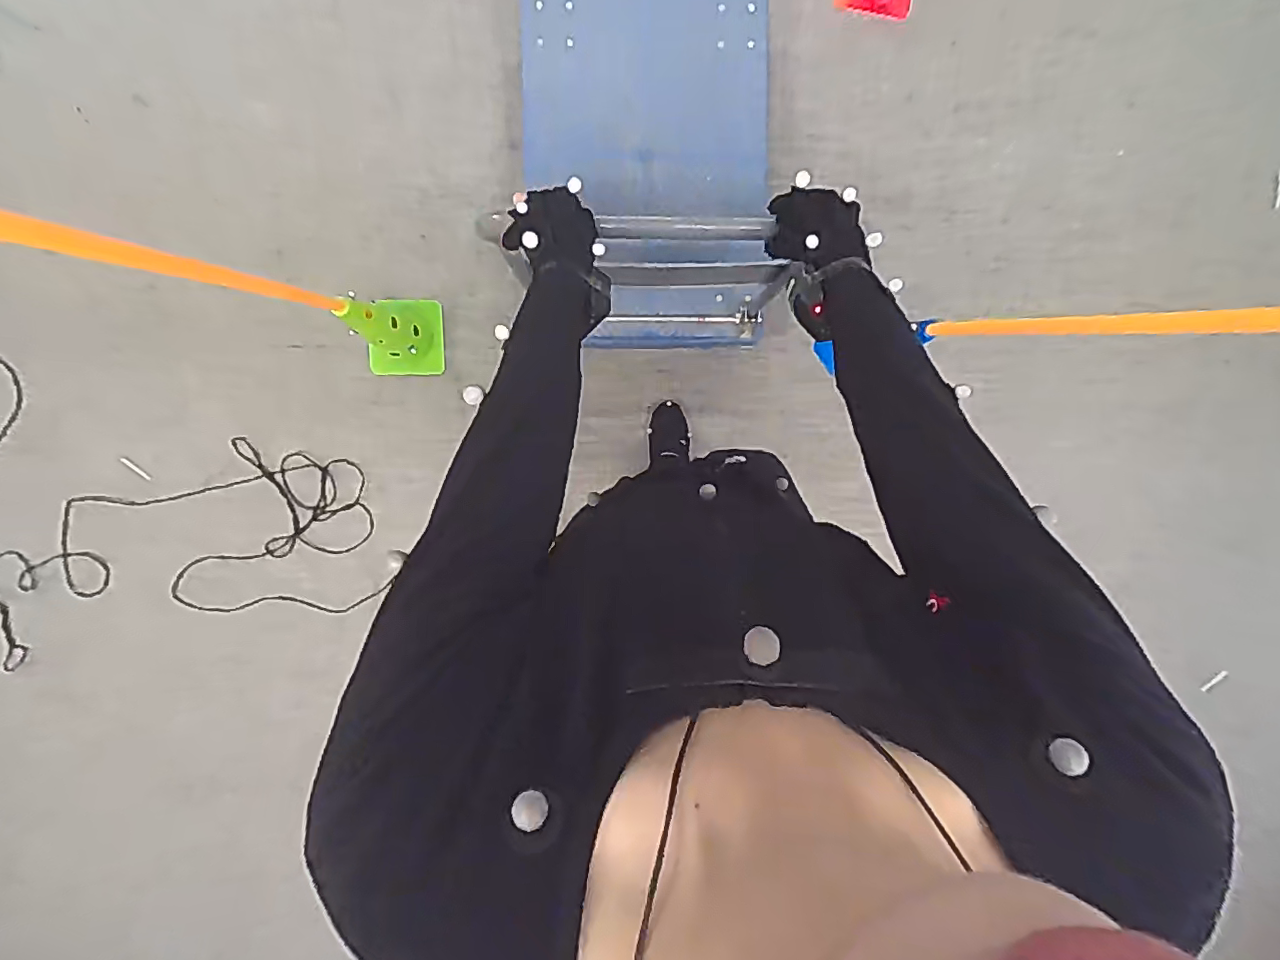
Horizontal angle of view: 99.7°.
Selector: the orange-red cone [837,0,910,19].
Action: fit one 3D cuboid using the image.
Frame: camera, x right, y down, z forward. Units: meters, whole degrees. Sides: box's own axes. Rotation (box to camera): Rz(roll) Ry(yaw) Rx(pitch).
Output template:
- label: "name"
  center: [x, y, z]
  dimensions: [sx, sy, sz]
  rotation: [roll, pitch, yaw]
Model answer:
- label: "orange-red cone"
  center: [0.627, -1.314, 1.249]
  dimensions: [0.198, 0.360, 0.199]
  rotation: [11, 95, -2]
